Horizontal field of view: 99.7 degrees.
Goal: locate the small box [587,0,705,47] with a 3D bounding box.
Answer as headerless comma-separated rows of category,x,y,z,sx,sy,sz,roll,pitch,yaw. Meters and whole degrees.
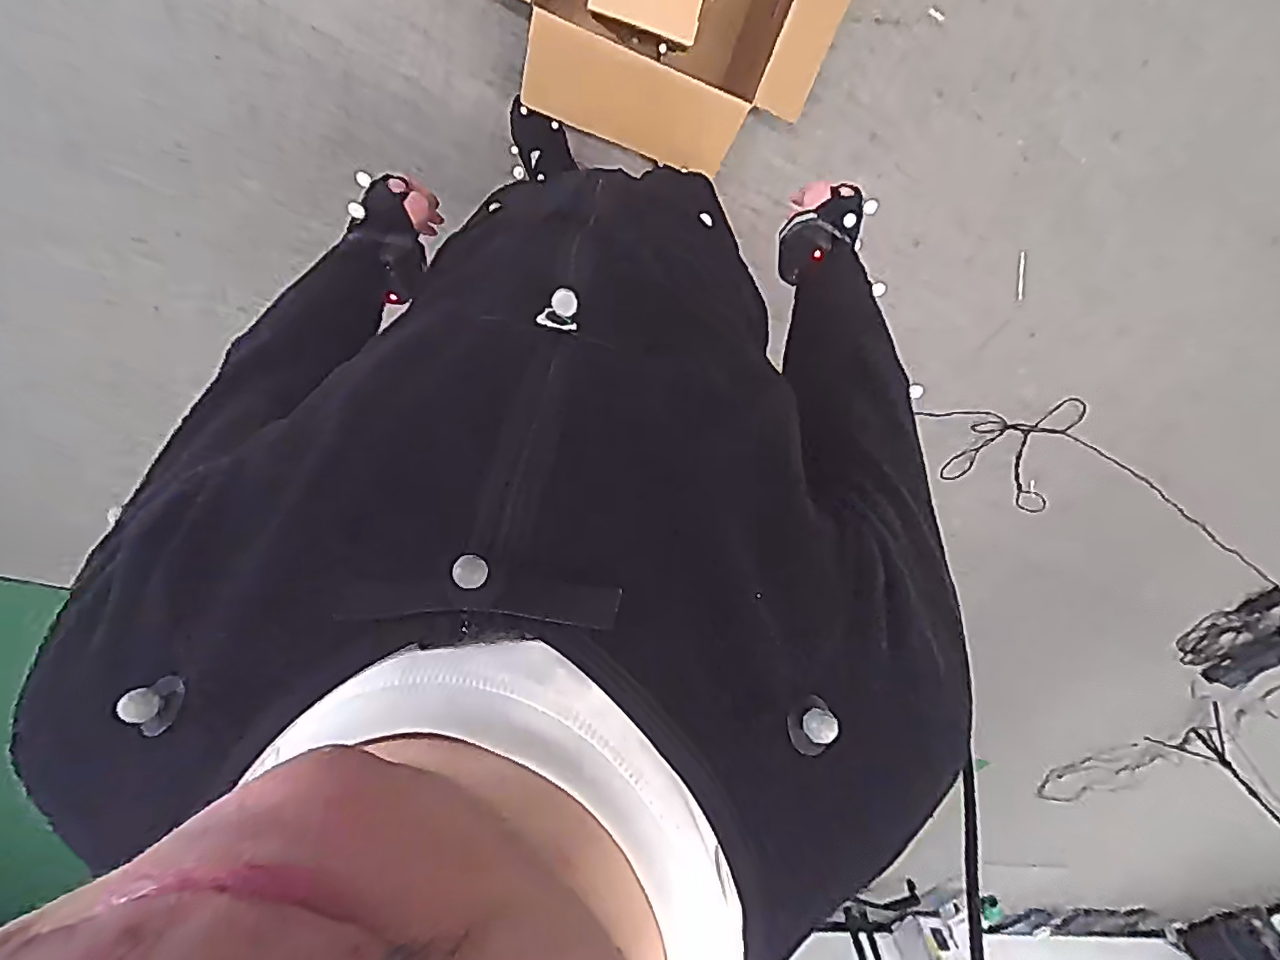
small box,0.023,-0.827,0.870,0.179,0.176,0.168,13,123,-9
